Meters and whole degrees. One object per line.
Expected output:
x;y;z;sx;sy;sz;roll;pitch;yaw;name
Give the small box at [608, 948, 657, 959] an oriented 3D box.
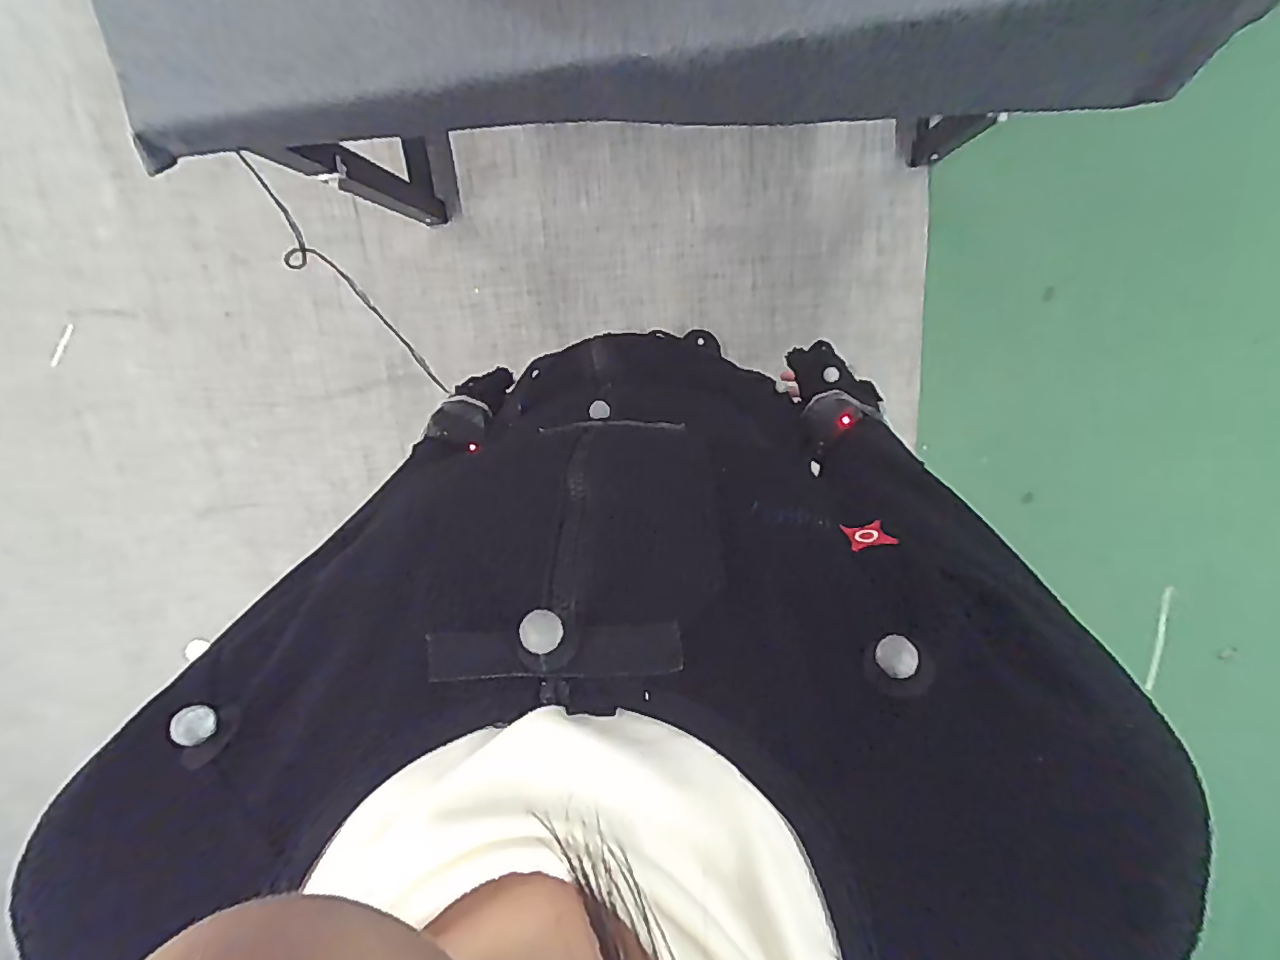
-0.029;1.764;1.867;0.179;0.176;0.168;-4;106;3;small box
